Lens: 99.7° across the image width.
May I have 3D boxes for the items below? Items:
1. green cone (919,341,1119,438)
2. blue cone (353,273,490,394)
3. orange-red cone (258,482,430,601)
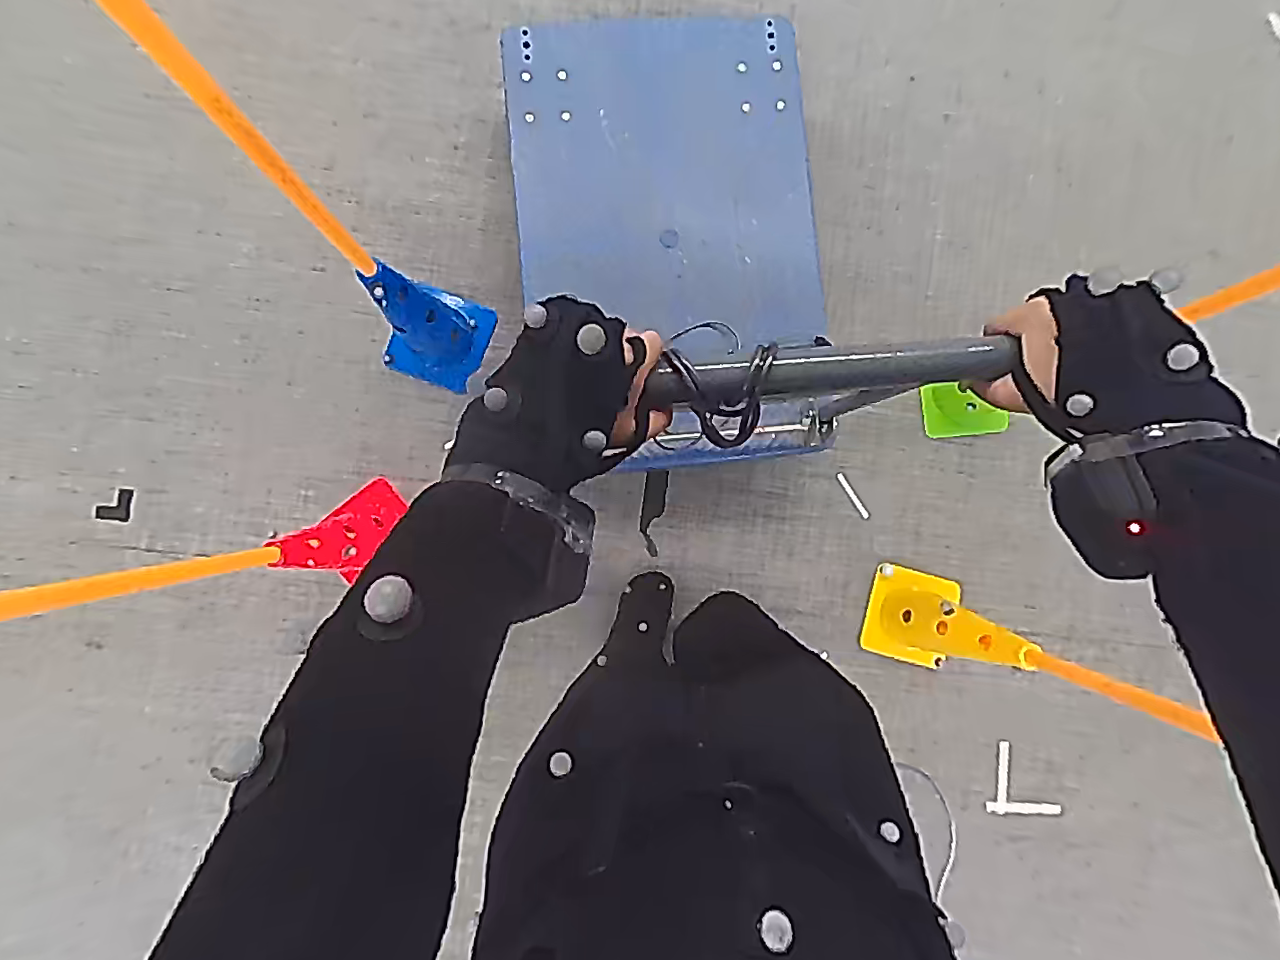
[{"bbox_3d":[0.748,-0.207,1.058,0.200,0.368,0.202,-7,89,-3],"label":"green cone"},{"bbox_3d":[-0.429,-0.304,1.015,0.193,0.380,0.192,22,87,-2],"label":"blue cone"},{"bbox_3d":[-0.558,0.119,0.972,0.199,0.360,0.198,-38,90,-6],"label":"orange-red cone"}]
